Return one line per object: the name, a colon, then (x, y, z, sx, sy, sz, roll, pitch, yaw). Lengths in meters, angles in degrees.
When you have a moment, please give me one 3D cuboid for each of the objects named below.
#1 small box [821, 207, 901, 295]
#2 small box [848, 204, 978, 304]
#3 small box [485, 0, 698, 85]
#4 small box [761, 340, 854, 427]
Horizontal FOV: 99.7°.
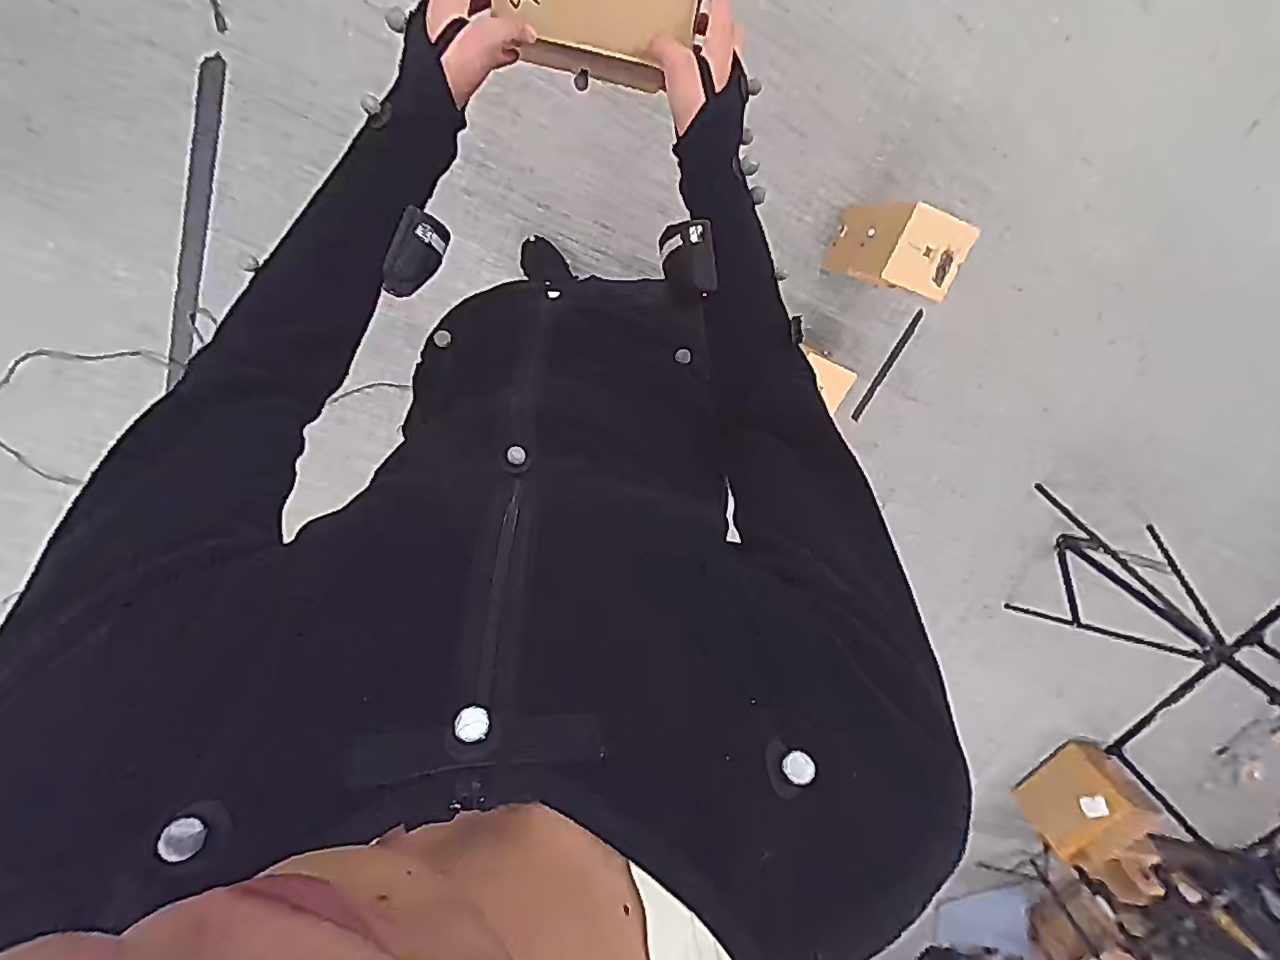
small box: (0.616, -0.609, 1.425, 0.179, 0.176, 0.168, 14, 115, -14)
small box: (0.634, -0.539, 1.278, 0.179, 0.176, 0.168, 16, 114, -15)
small box: (-0.044, -0.483, 0.496, 0.179, 0.176, 0.168, 4, 120, -14)
small box: (0.480, -0.289, 1.582, 0.168, 0.176, 0.179, 21, 115, -17)
